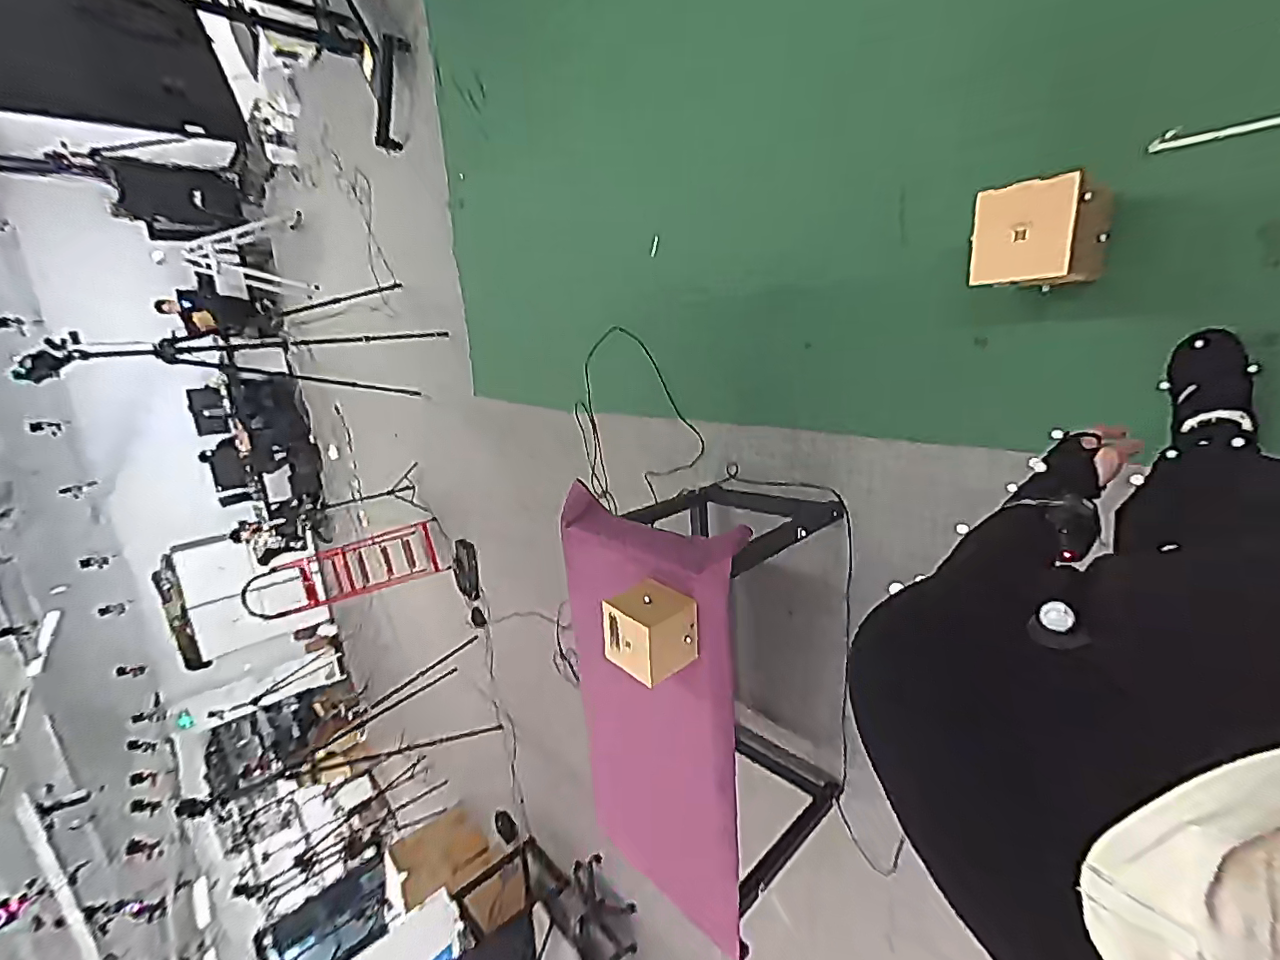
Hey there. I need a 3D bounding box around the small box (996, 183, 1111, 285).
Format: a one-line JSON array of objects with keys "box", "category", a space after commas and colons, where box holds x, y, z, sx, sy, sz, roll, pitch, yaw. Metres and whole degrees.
[{"box": [0.905, -0.528, 1.187, 0.168, 0.176, 0.179, 13, 113, 47], "category": "small box"}]

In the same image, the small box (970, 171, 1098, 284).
[{"box": [0.788, -0.493, 1.082, 0.168, 0.176, 0.179, 12, 111, 47], "category": "small box"}]
